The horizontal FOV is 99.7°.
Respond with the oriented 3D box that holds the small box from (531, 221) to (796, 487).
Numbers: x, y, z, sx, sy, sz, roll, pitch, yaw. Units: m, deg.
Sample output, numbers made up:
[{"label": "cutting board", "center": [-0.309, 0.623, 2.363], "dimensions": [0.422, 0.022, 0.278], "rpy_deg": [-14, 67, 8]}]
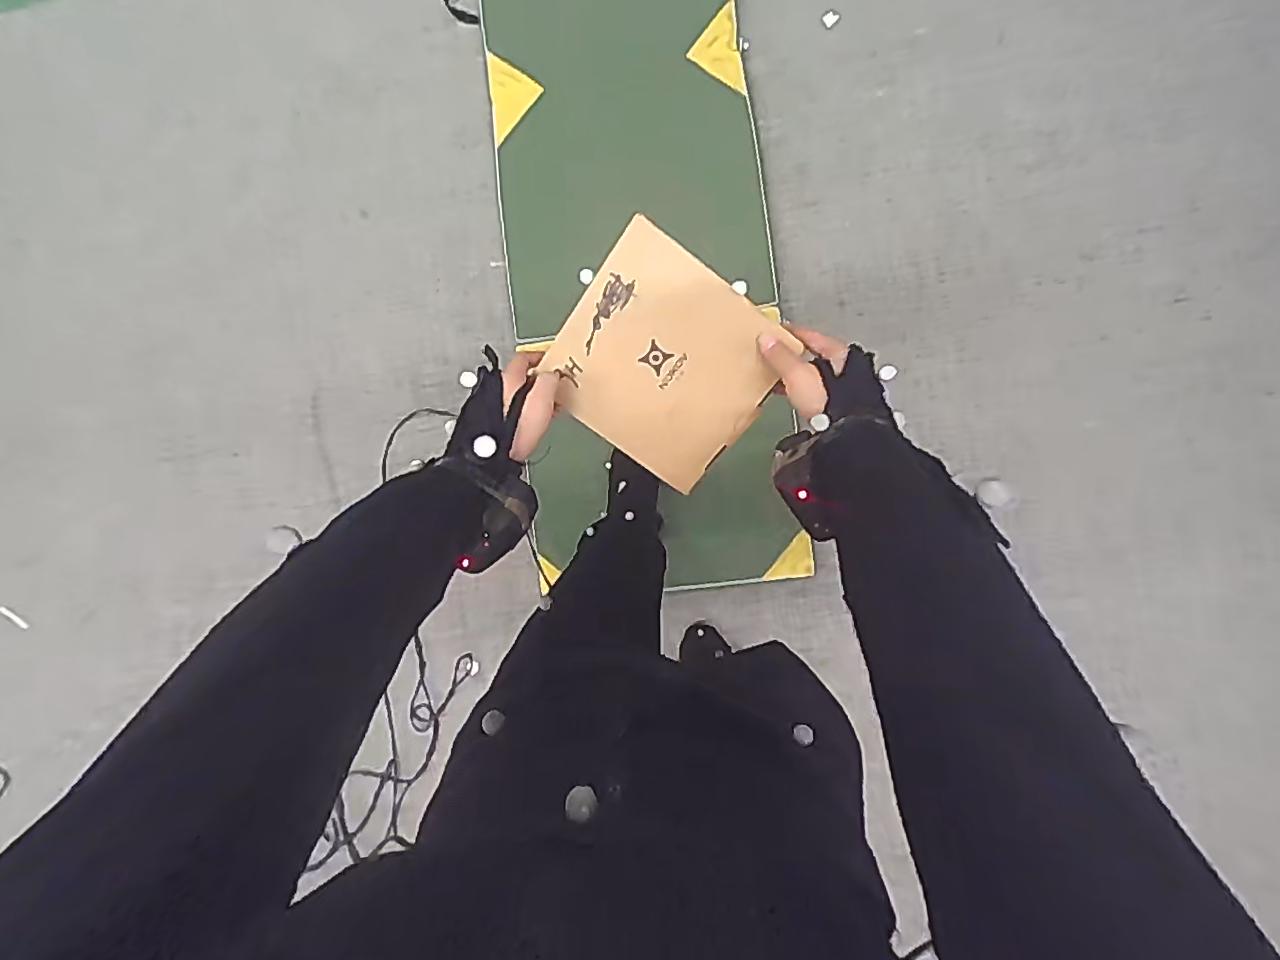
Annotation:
[{"label": "small box", "center": [0.024, -0.127, 0.543], "dimensions": [0.179, 0.176, 0.168], "rpy_deg": [36, 107, -7]}]
